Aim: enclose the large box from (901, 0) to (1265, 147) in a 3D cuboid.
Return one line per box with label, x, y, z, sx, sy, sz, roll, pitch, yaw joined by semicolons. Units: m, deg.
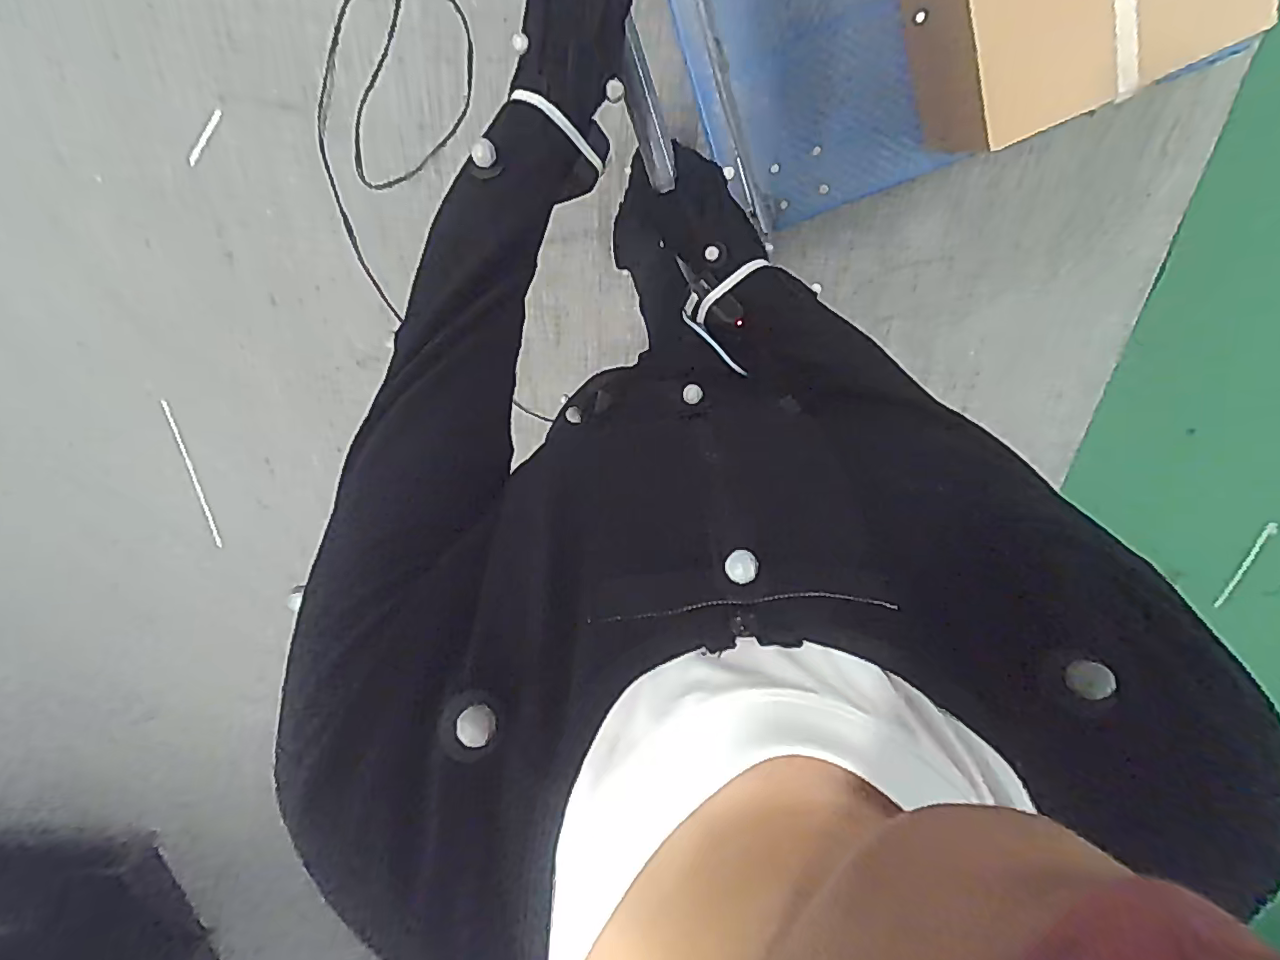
large box;0.570;-0.757;0.763;0.320;0.320;0.408;-18;116;20
